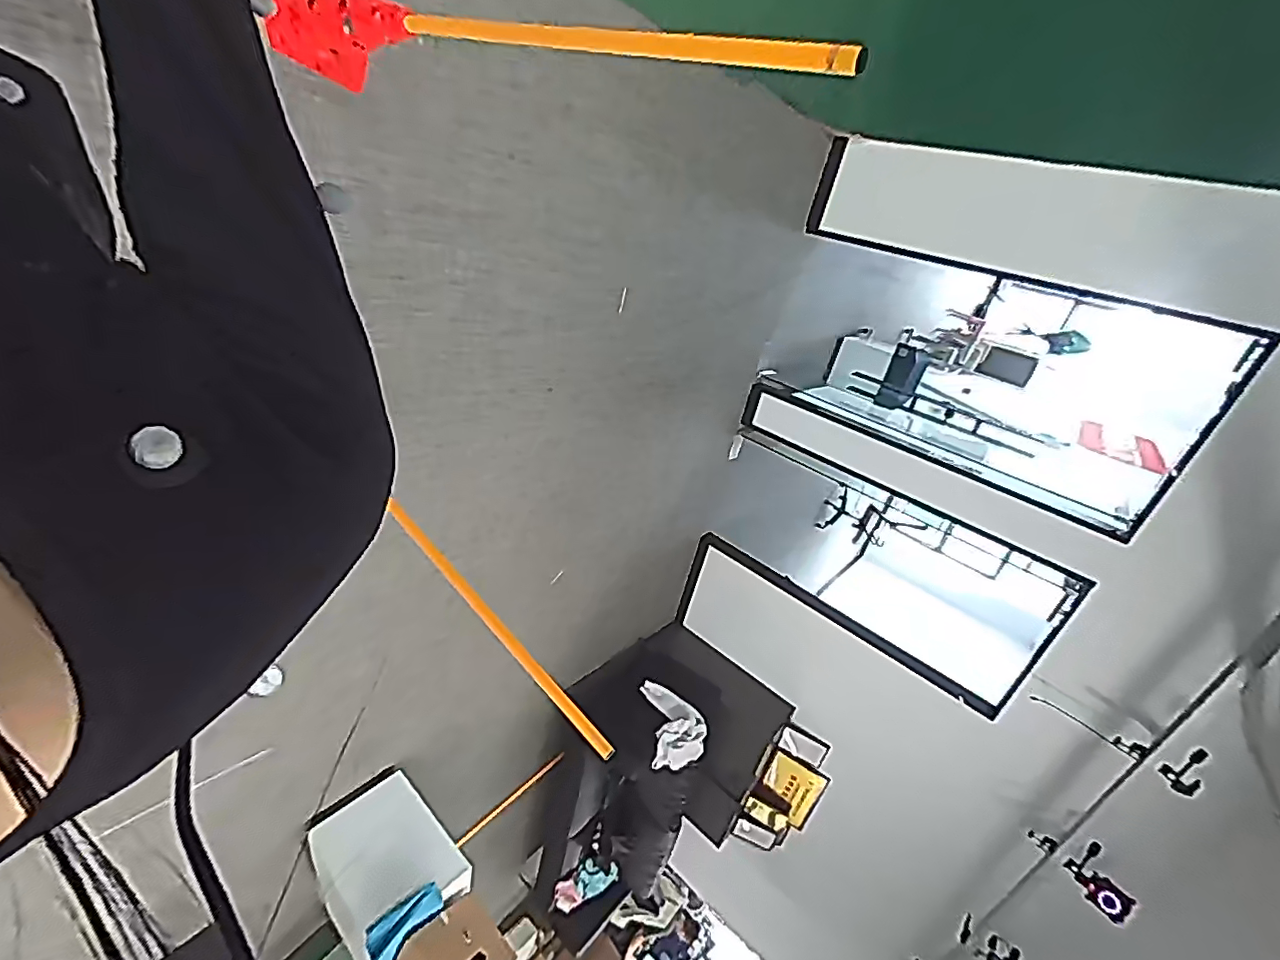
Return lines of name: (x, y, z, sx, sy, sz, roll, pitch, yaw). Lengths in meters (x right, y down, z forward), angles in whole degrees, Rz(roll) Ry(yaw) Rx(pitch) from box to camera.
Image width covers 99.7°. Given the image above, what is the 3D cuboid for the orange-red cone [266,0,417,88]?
orange-red cone: (-0.539, -0.895, 1.050, 0.198, 0.360, 0.199, -1, 119, -54)
